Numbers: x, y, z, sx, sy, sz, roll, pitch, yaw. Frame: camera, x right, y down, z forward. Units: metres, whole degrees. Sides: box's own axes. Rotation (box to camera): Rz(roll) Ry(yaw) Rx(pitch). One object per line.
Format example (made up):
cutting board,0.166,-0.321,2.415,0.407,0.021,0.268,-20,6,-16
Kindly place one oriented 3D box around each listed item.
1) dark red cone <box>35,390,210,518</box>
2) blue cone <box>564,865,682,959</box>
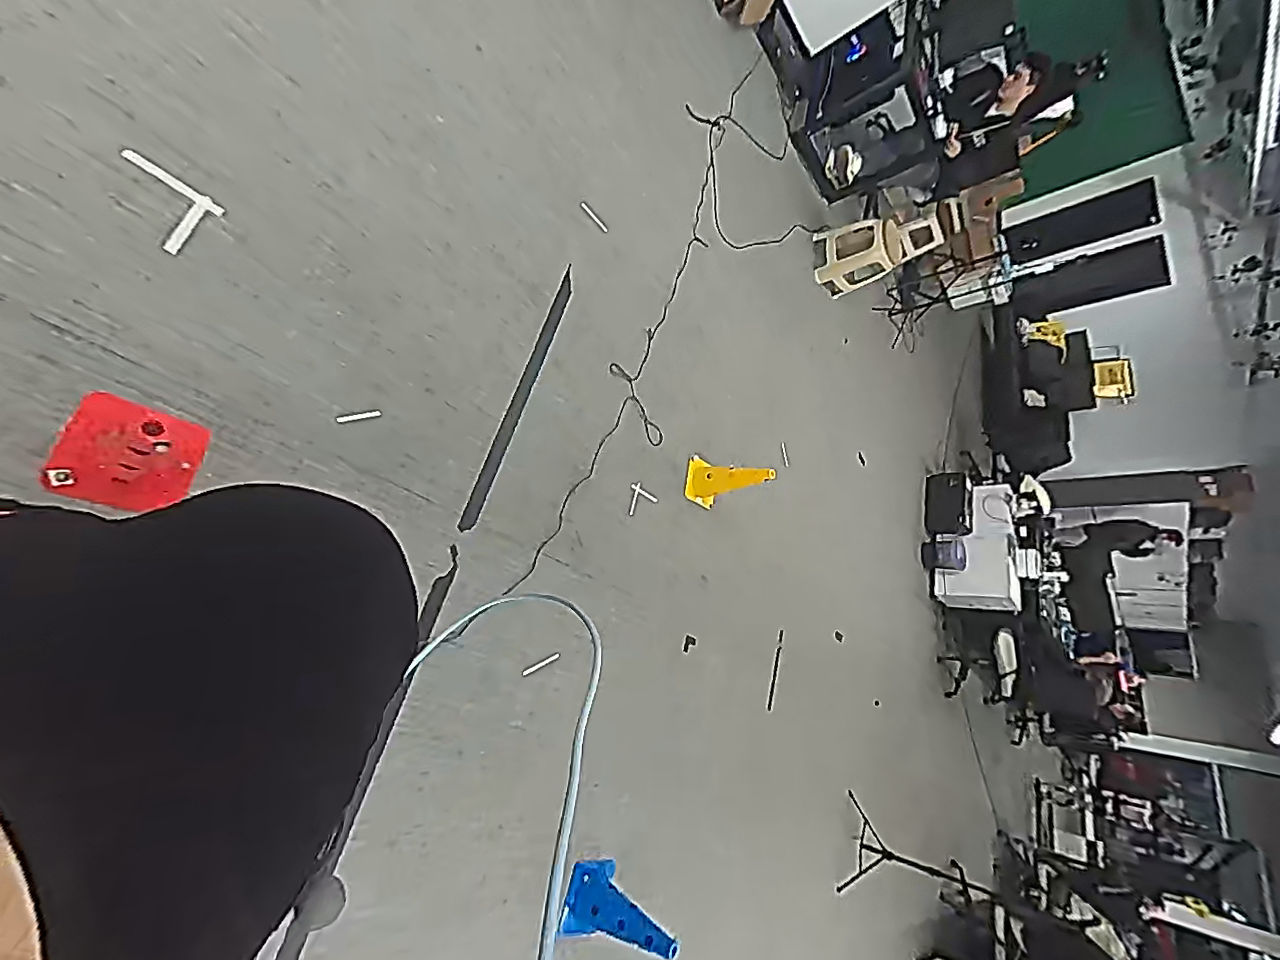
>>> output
dark red cone,-0.829,-0.062,0.900,0.201,0.394,0.202,27,65,-44
blue cone,-0.037,1.334,1.624,0.192,0.380,0.193,37,59,-40
